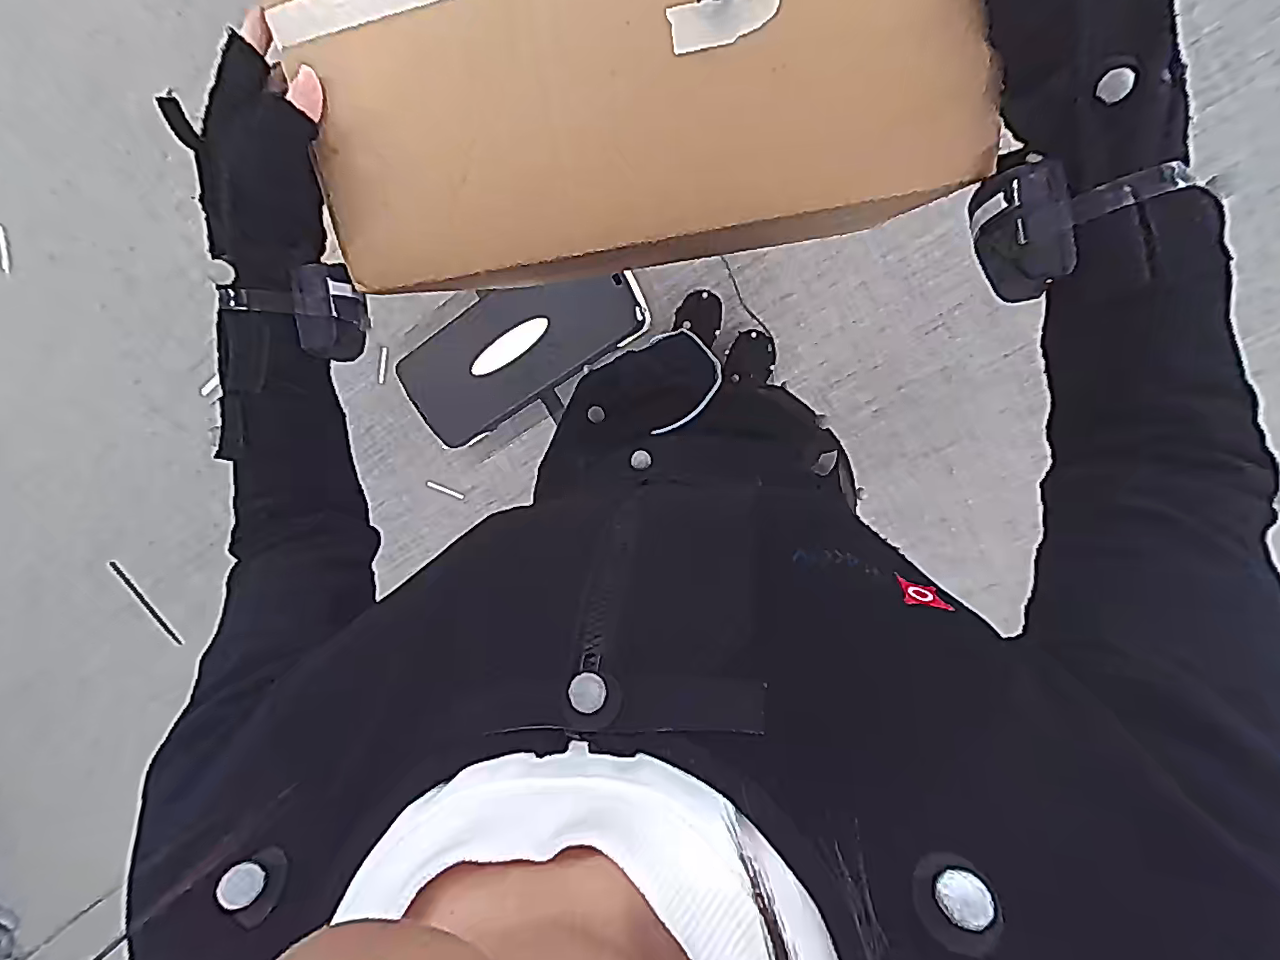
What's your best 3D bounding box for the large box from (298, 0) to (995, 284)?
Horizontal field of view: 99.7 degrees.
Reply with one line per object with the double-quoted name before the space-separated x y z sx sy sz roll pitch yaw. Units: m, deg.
"large box" 0.004 -0.355 0.437 0.408 0.320 0.320 -5 110 12
